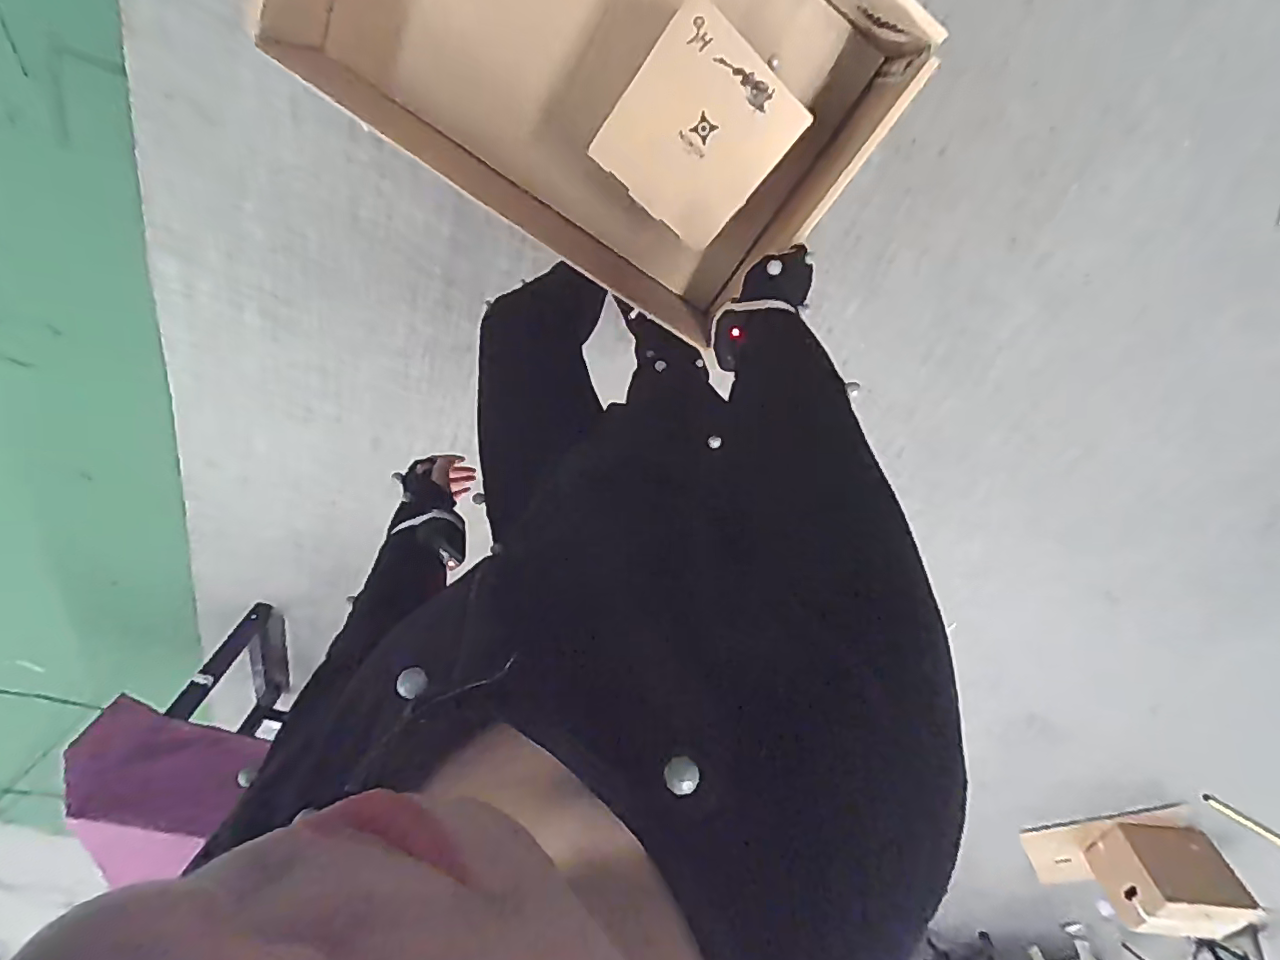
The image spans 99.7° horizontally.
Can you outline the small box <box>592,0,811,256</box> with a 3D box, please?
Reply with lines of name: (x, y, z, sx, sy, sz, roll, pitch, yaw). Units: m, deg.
small box: (0.069, -0.403, 0.633, 0.168, 0.176, 0.179, 35, 120, -19)
